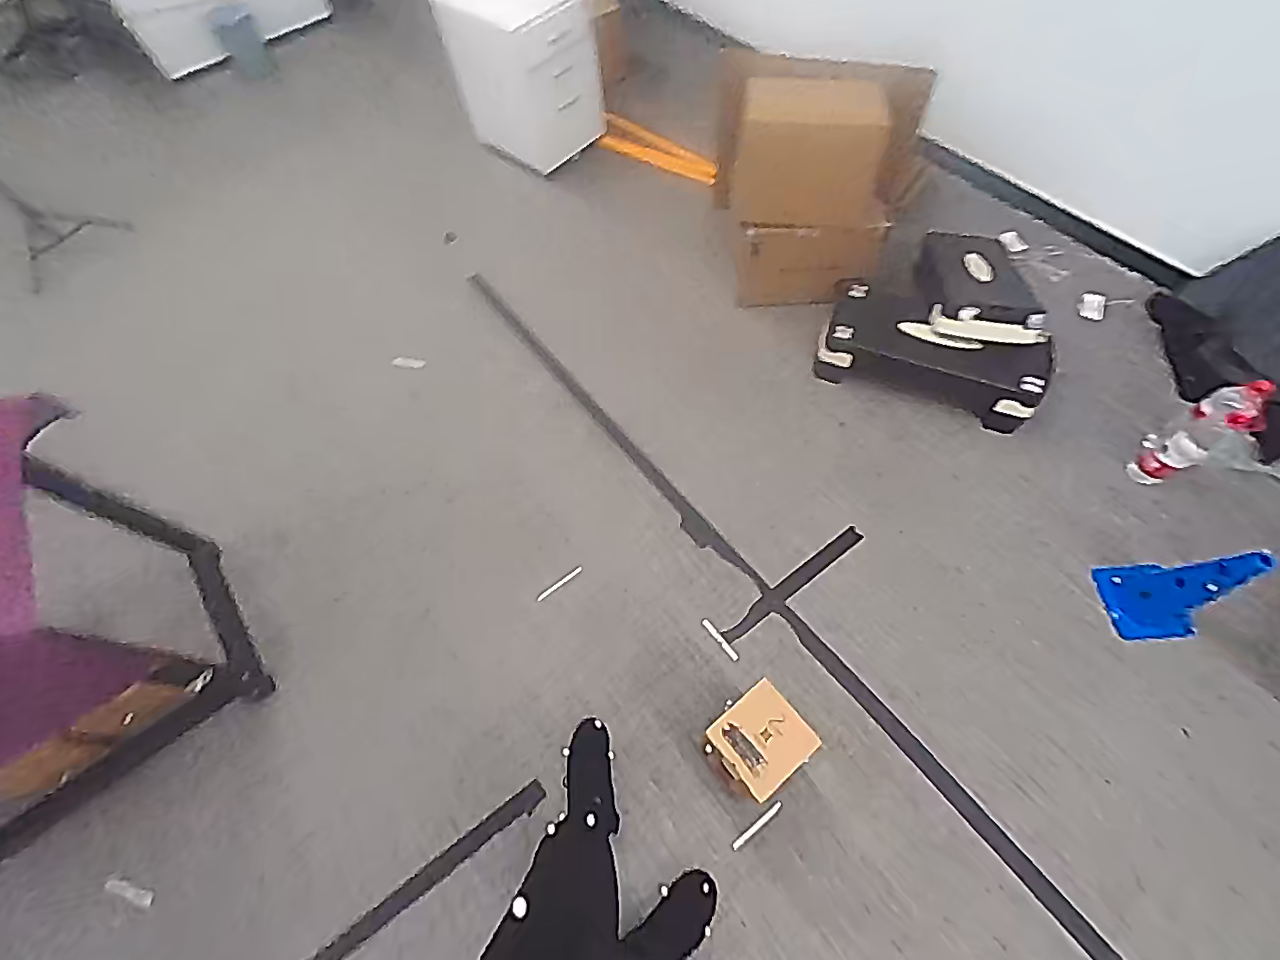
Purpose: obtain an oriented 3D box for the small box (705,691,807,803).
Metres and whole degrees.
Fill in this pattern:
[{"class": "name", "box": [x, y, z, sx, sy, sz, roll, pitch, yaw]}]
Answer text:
[{"class": "small box", "box": [0.269, 0.641, 1.310, 0.179, 0.176, 0.168, -38, 66, -14]}]
